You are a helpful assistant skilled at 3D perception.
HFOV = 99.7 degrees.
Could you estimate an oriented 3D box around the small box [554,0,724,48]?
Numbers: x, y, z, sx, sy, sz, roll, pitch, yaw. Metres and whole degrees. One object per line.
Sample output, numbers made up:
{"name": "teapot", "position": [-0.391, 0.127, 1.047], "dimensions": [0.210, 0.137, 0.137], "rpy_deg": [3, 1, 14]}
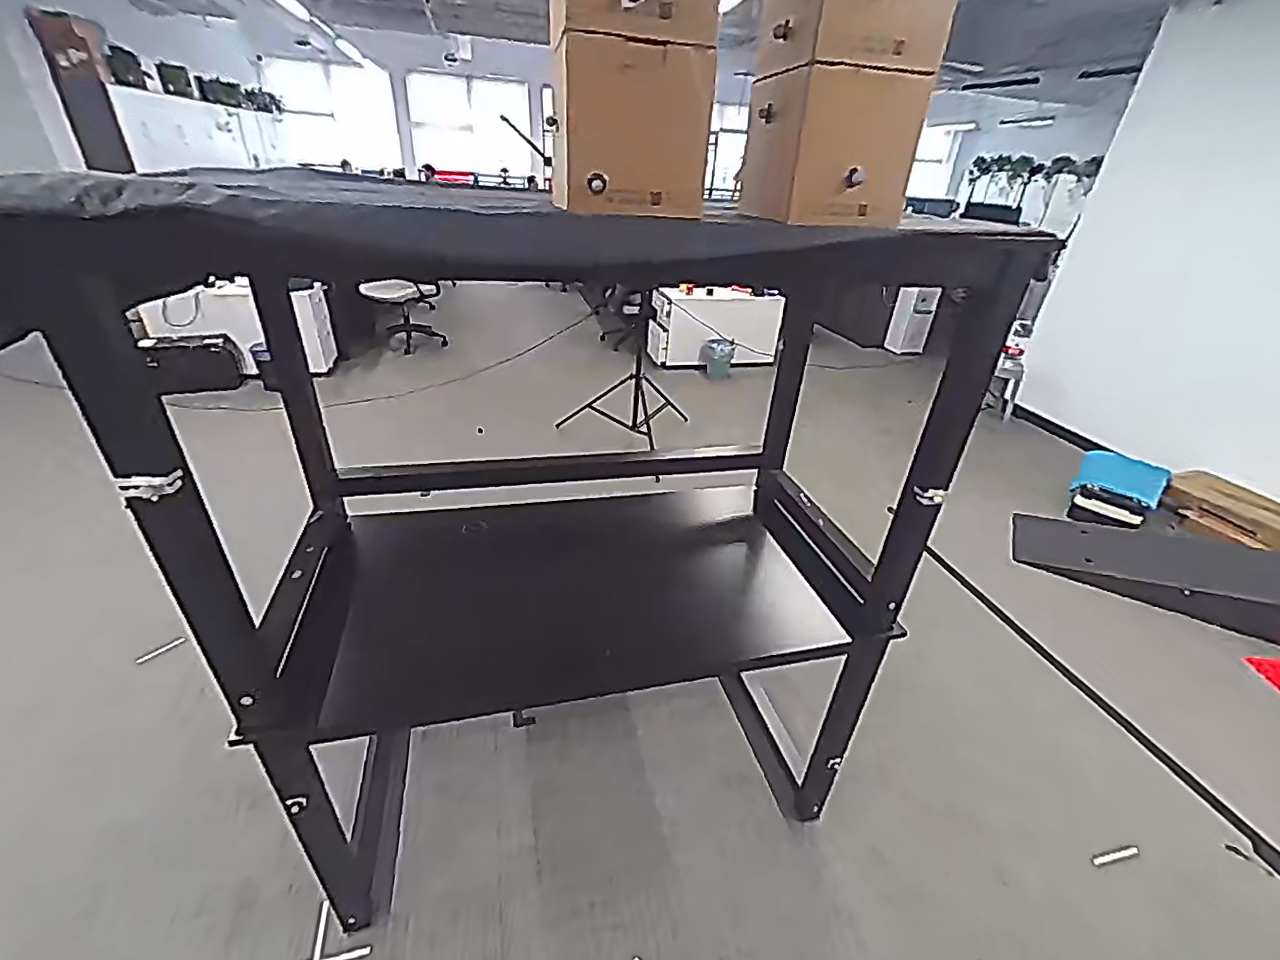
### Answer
{"name": "small box", "position": [-0.007, -0.568, 0.589], "dimensions": [0.168, 0.176, 0.179], "rpy_deg": [-4, 30, -12]}

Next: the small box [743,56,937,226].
{"name": "small box", "position": [0.250, -0.445, 0.729], "dimensions": [0.168, 0.176, 0.179], "rpy_deg": [-5, 30, -12]}

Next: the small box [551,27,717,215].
{"name": "small box", "position": [-0.017, -0.425, 0.666], "dimensions": [0.168, 0.176, 0.179], "rpy_deg": [-4, 29, -13]}

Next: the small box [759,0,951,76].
{"name": "small box", "position": [0.259, -0.588, 0.649], "dimensions": [0.168, 0.176, 0.179], "rpy_deg": [-3, 31, -12]}
